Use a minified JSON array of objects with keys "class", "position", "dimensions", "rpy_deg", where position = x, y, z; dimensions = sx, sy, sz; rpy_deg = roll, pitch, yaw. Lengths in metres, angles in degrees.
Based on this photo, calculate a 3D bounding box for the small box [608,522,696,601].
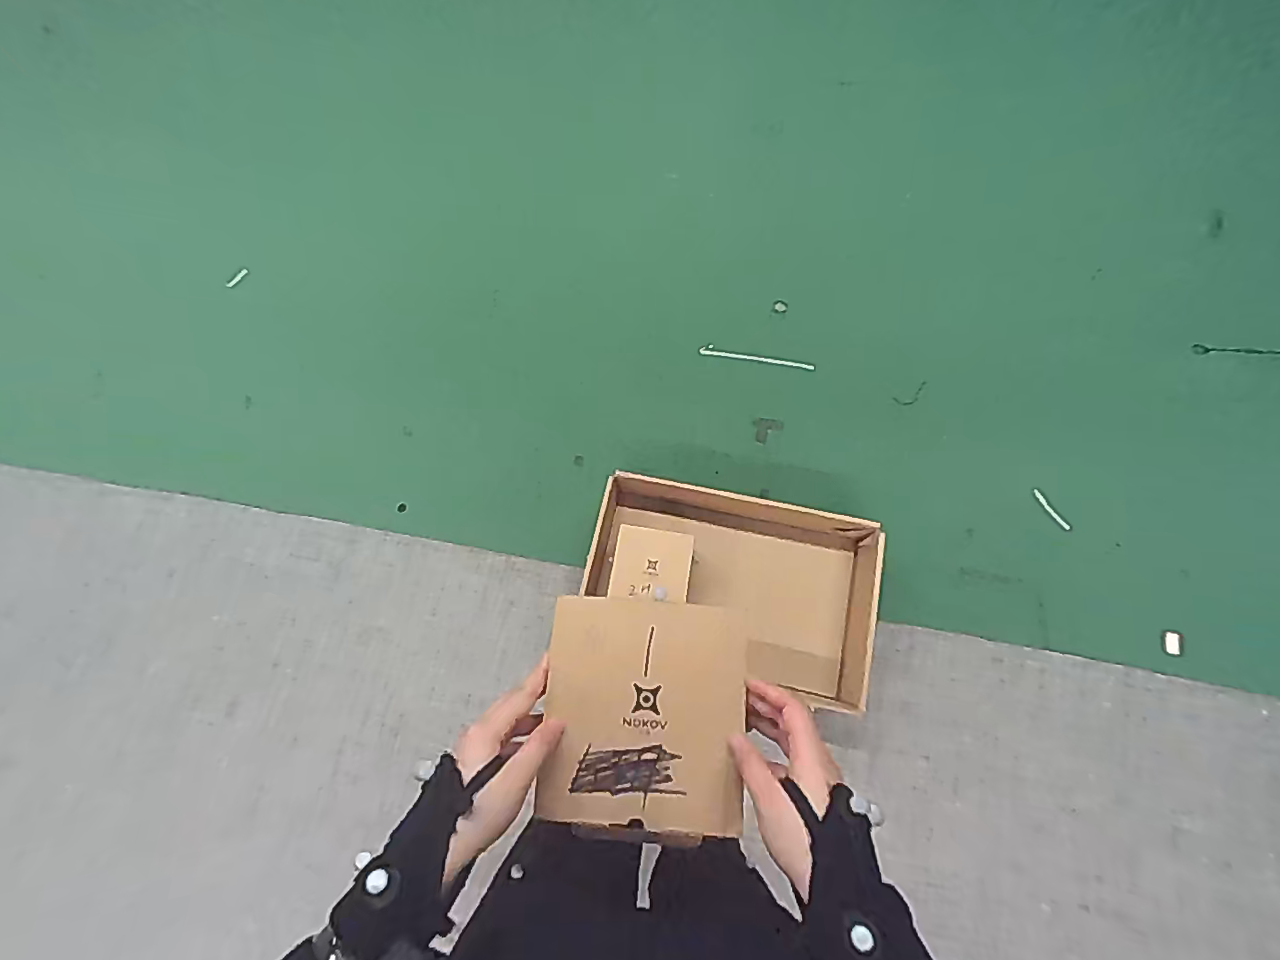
[{"class":"small box","position":[0.029,0.207,1.210],"dimensions":[0.168,0.176,0.179],"rpy_deg":[9,75,6]}]

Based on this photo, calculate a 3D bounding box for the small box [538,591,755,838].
[{"class":"small box","position":[0.010,0.202,0.514],"dimensions":[0.168,0.176,0.179],"rpy_deg":[4,77,2]}]
